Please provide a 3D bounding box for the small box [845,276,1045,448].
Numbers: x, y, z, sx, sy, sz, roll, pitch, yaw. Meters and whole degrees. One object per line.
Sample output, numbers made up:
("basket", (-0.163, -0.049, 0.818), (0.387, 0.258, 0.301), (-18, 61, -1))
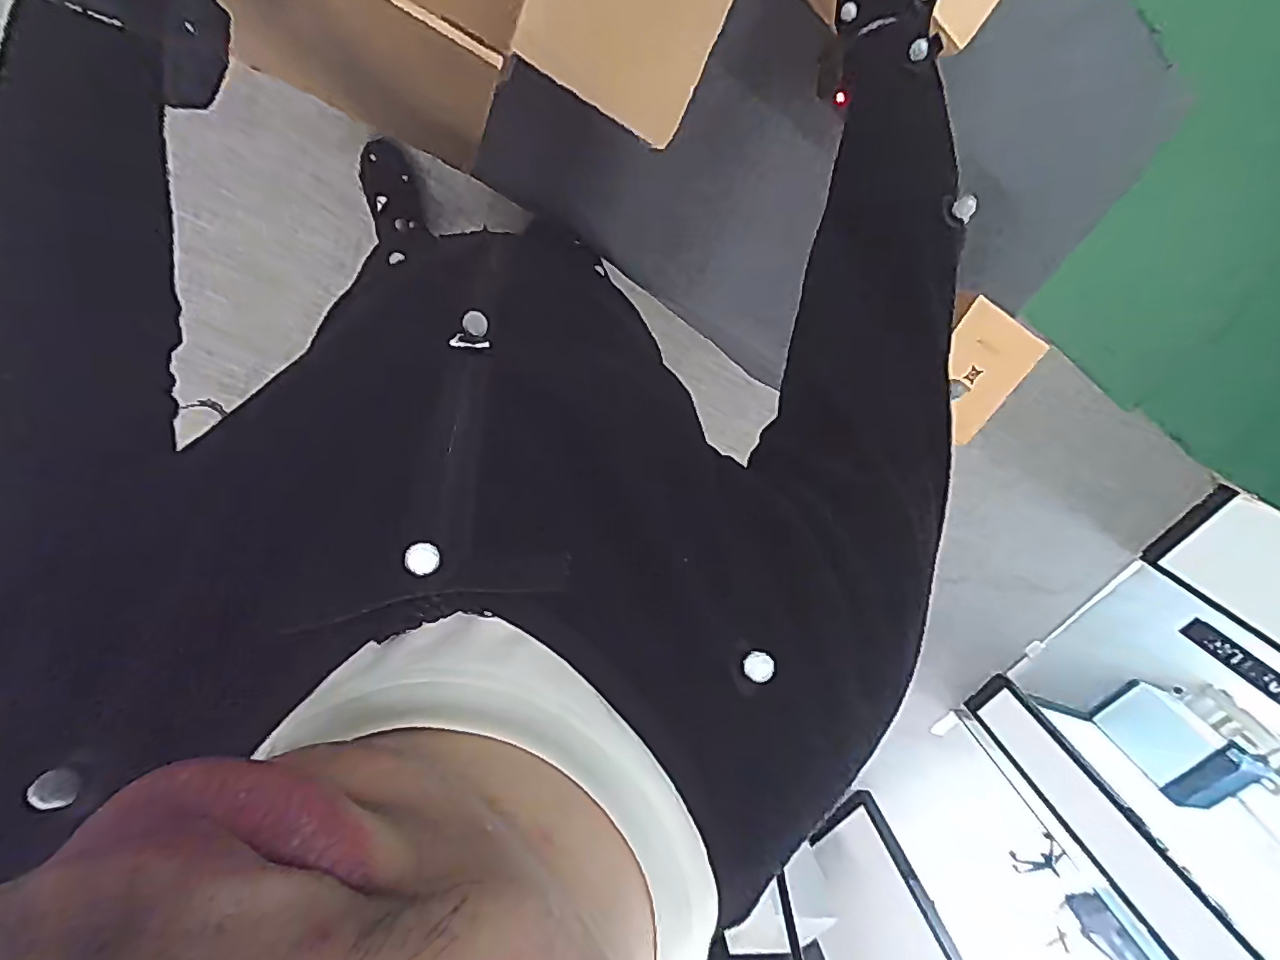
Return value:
("small box", (0.446, -0.183, 0.825), (0.168, 0.176, 0.179), (21, 114, -24))
